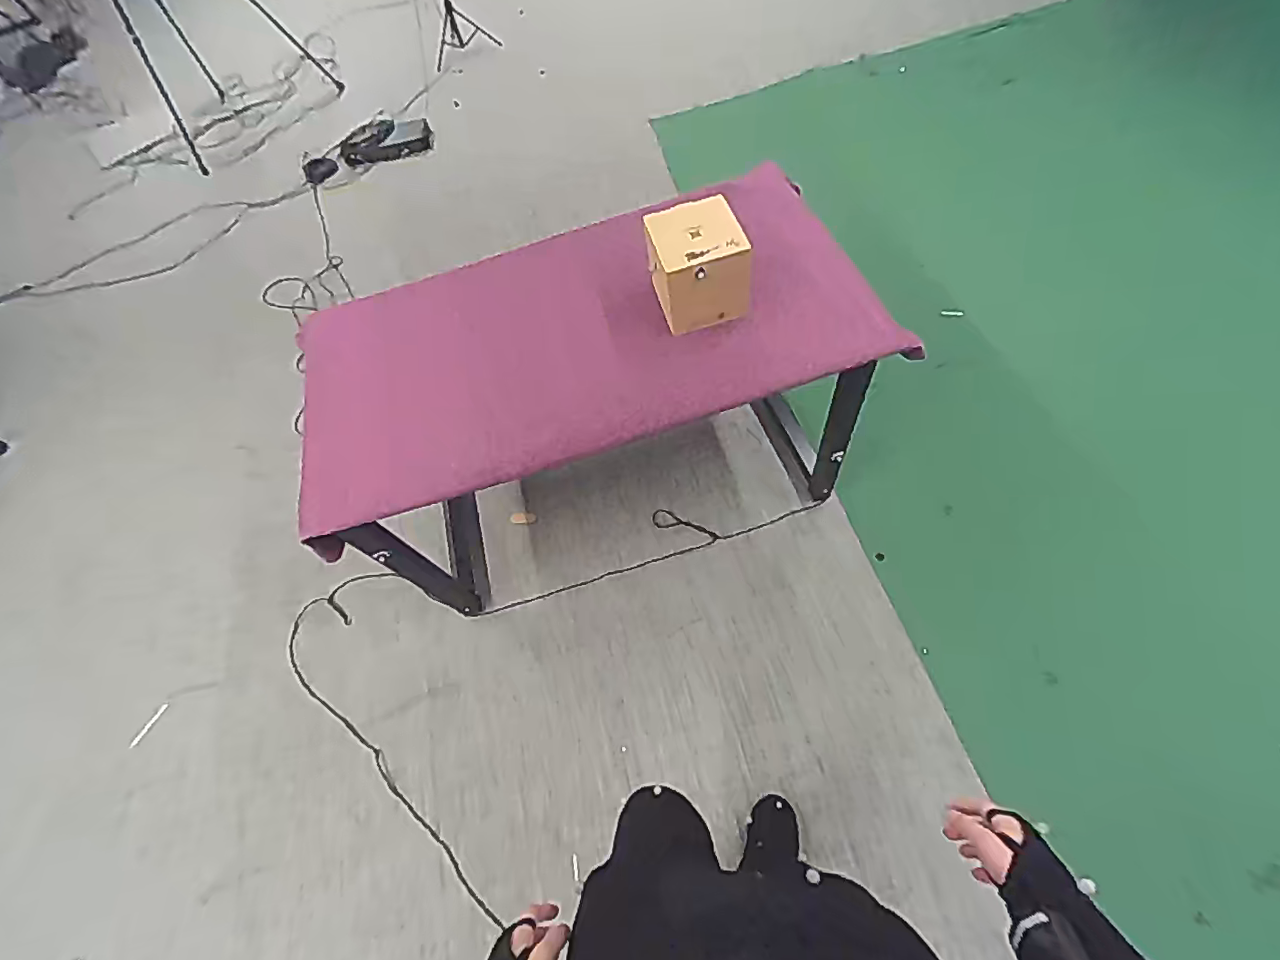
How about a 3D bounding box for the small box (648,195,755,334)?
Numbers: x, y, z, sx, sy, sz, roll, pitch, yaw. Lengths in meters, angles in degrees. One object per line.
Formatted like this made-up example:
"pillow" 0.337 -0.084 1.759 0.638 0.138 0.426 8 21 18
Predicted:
"small box" 0.122 -0.426 1.083 0.168 0.176 0.179 -16 59 1
